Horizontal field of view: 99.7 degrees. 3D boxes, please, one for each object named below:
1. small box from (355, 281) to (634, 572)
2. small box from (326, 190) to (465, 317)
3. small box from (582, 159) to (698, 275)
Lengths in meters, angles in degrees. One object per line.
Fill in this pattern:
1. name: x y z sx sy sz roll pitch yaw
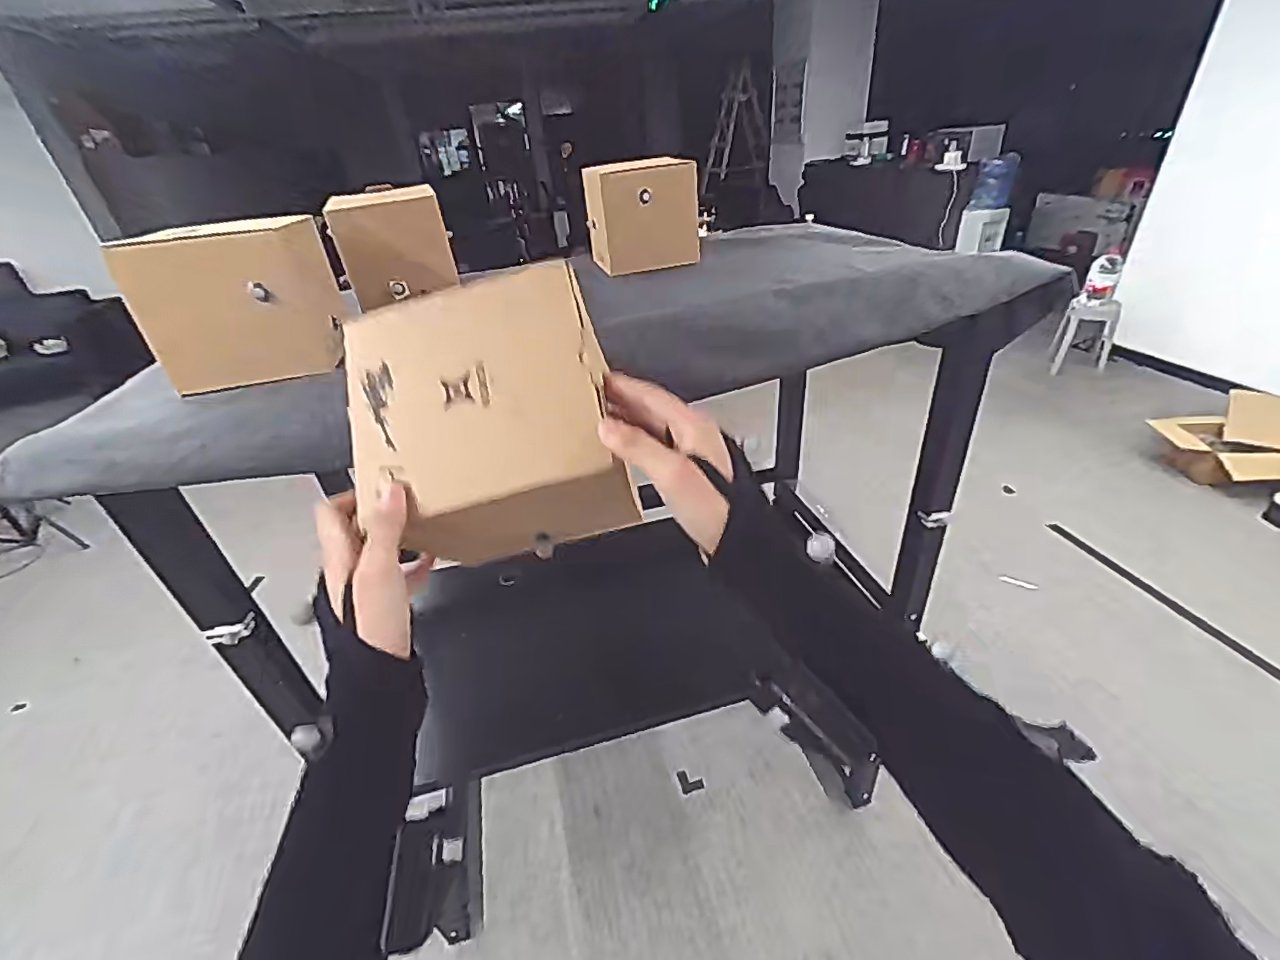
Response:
1. small box: -0.106 -0.030 0.454 0.179 0.176 0.168 -14 70 2
2. small box: -0.411 -0.391 0.929 0.168 0.176 0.179 -17 35 -14
3. small box: 0.001 -0.495 1.017 0.179 0.176 0.168 -12 34 -9
